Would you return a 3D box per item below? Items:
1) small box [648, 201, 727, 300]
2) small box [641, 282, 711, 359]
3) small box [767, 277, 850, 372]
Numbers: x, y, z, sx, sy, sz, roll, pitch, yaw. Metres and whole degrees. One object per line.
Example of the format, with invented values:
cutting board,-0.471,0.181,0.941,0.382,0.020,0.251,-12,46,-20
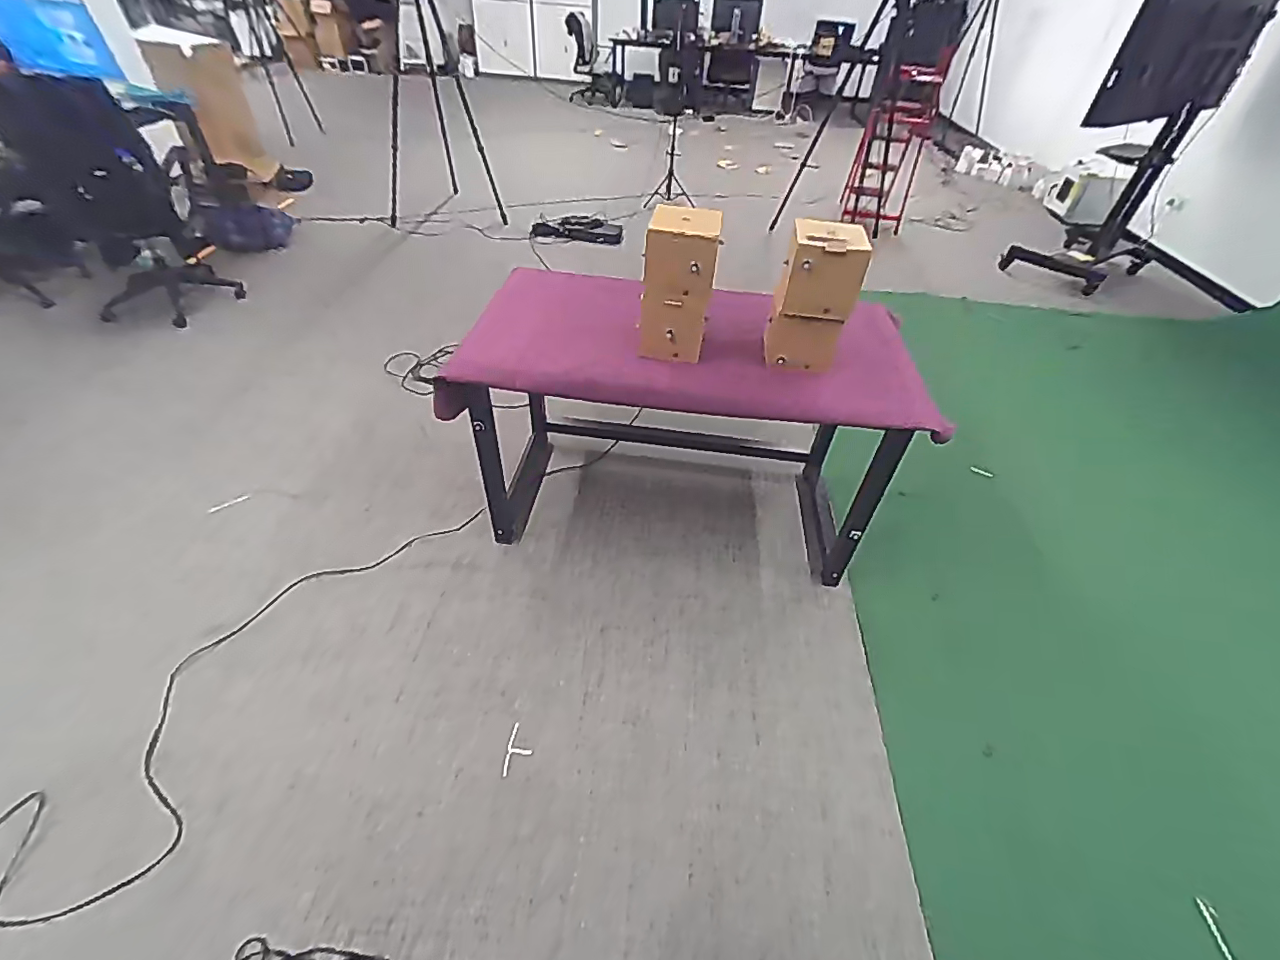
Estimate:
small box,0.113,-0.558,1.317,0.168,0.176,0.179,9,44,4
small box,0.097,-0.441,1.430,0.168,0.176,0.179,9,45,5
small box,0.437,-0.406,1.419,0.168,0.176,0.179,11,45,4
